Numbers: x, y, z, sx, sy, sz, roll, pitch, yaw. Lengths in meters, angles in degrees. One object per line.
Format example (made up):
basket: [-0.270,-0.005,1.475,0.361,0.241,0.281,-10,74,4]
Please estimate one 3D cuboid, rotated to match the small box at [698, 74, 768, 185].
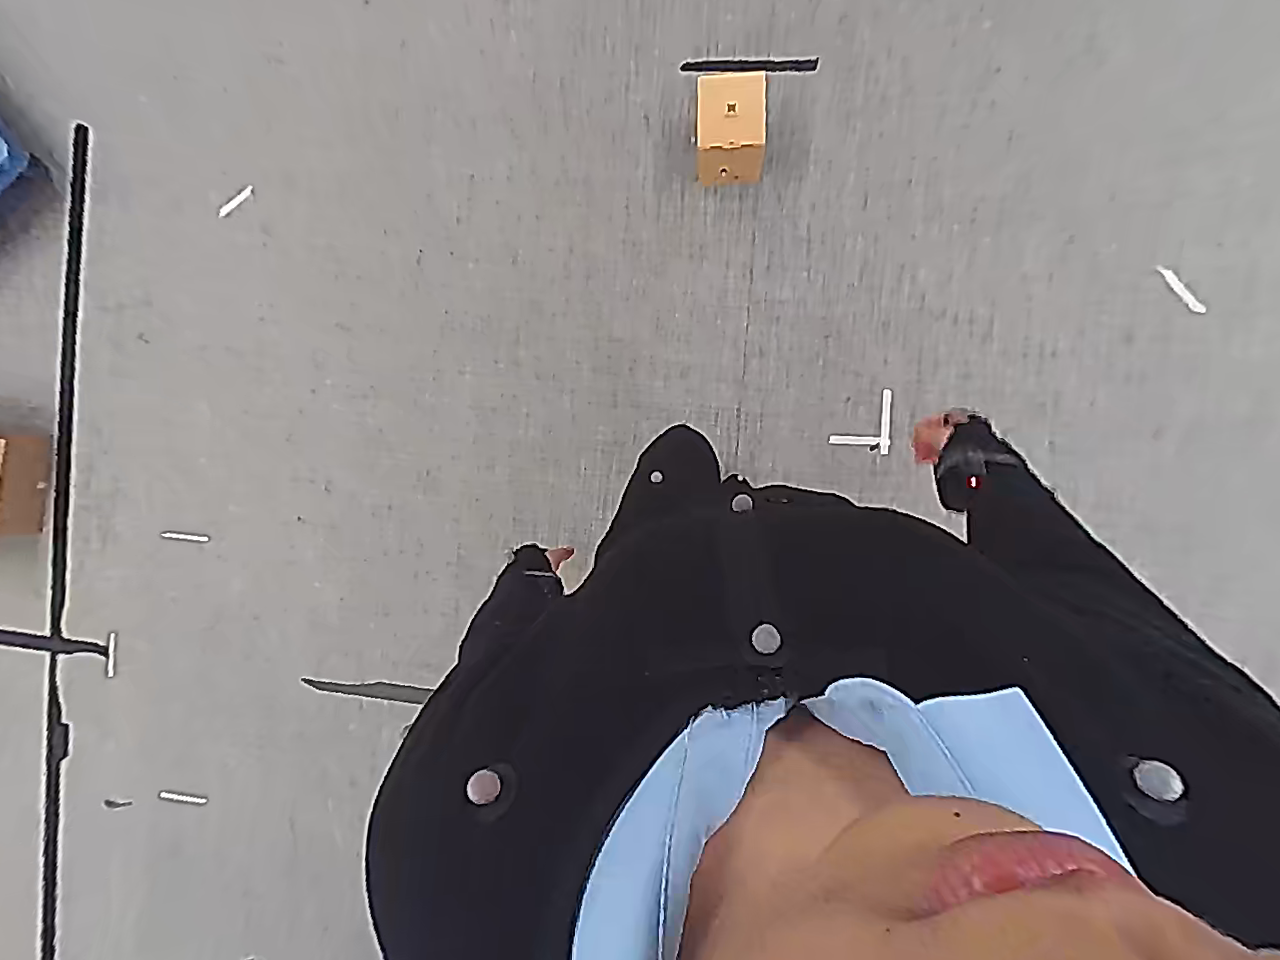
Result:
small box: [0.233,-0.889,1.384,0.168,0.176,0.179,-1,91,6]
